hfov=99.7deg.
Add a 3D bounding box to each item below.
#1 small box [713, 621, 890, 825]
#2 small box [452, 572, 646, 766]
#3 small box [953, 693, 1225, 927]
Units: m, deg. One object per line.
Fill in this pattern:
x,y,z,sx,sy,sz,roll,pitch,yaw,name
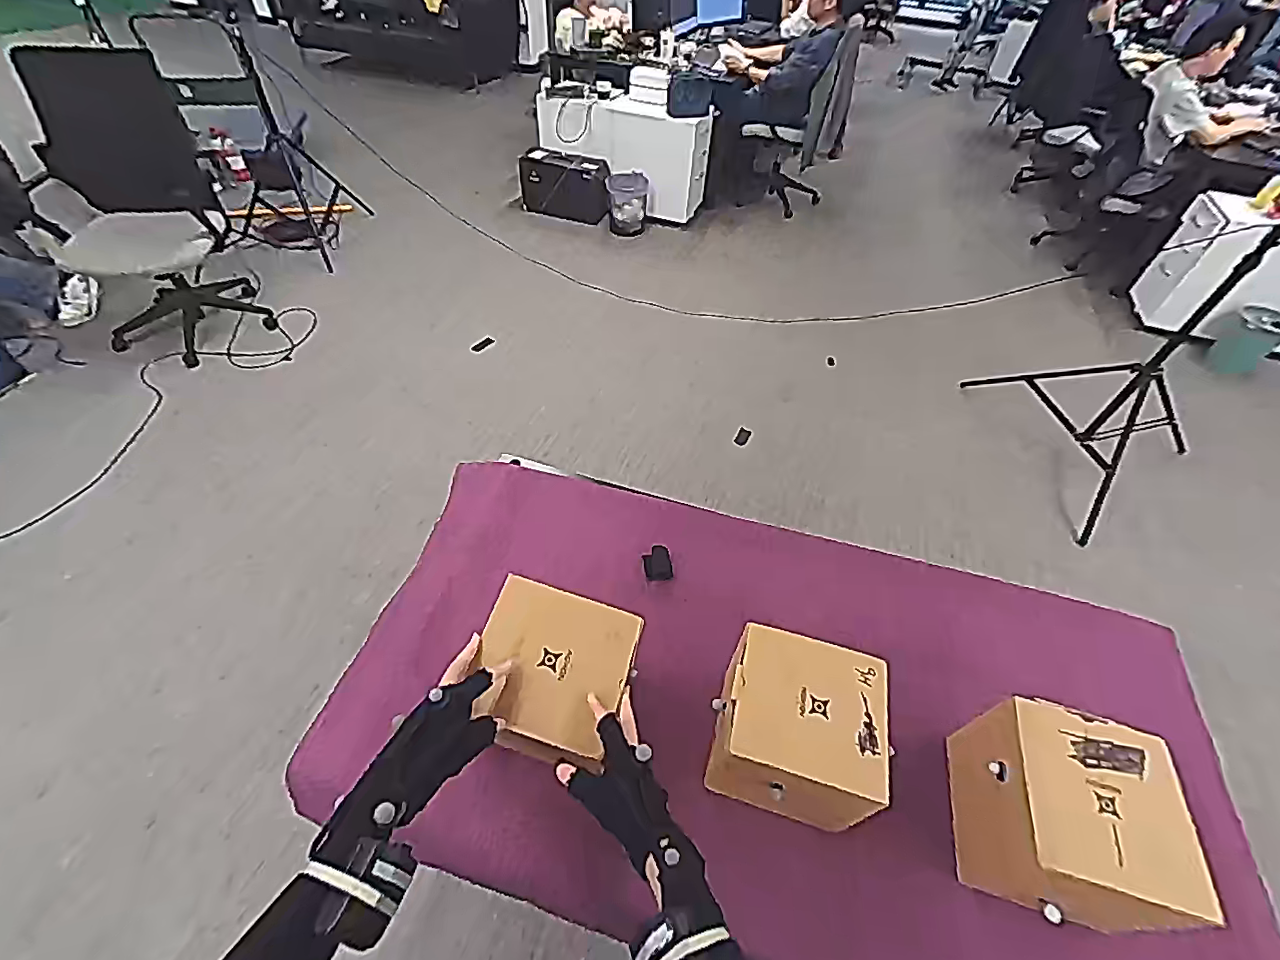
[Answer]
0.197,0.310,0.686,0.179,0.176,0.168,13,48,9,small box
-0.108,0.244,0.678,0.179,0.176,0.168,17,55,2,small box
0.493,0.387,0.634,0.168,0.176,0.179,14,49,9,small box
